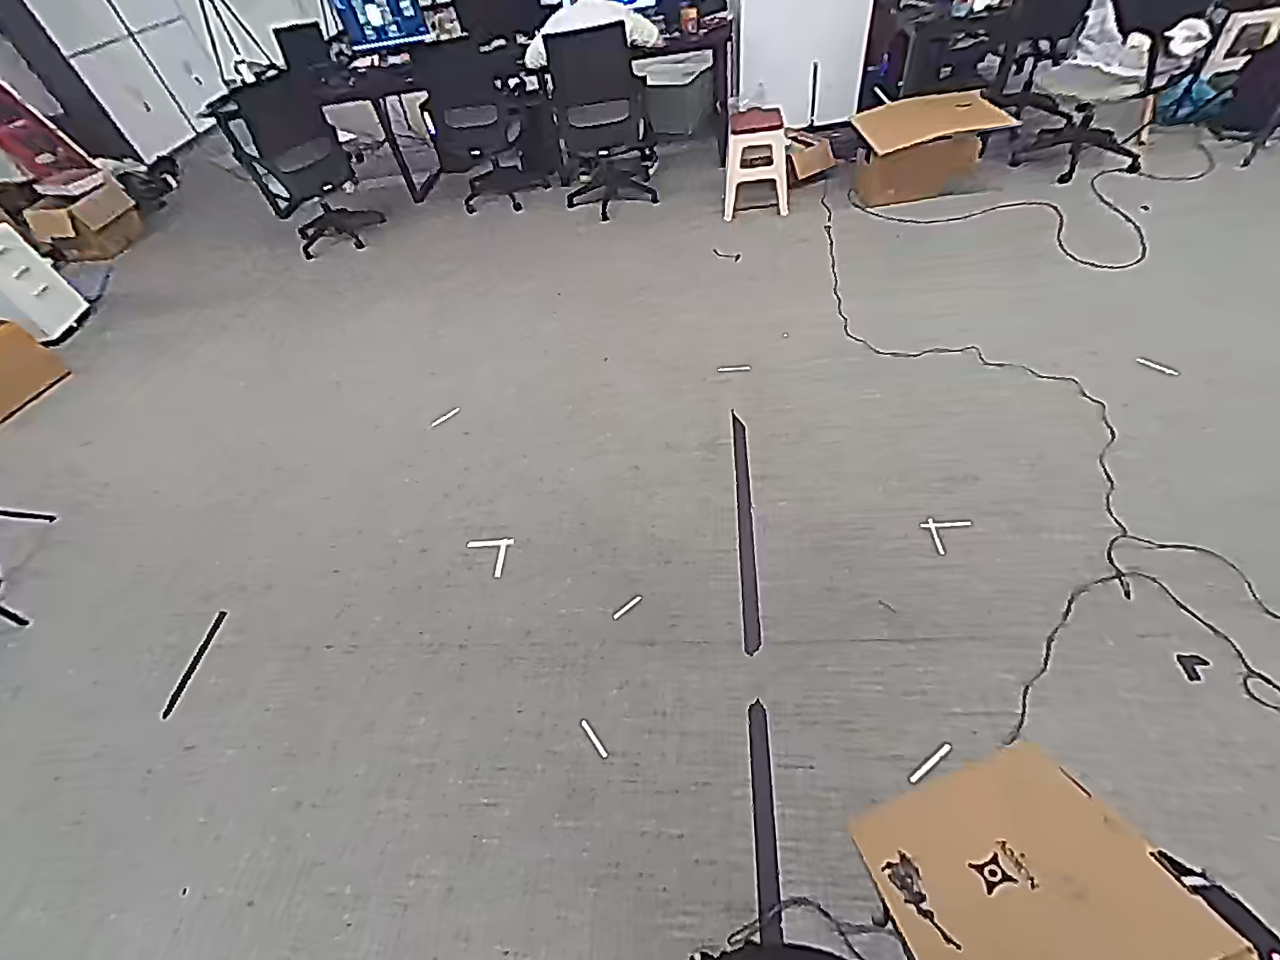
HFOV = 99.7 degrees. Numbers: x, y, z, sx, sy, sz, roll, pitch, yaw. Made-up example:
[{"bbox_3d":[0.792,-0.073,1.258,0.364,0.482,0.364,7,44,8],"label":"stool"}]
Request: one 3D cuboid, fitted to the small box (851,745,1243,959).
[{"bbox_3d":[0.301,0.356,0.418,0.179,0.176,0.168,-26,15,3],"label":"small box"}]
